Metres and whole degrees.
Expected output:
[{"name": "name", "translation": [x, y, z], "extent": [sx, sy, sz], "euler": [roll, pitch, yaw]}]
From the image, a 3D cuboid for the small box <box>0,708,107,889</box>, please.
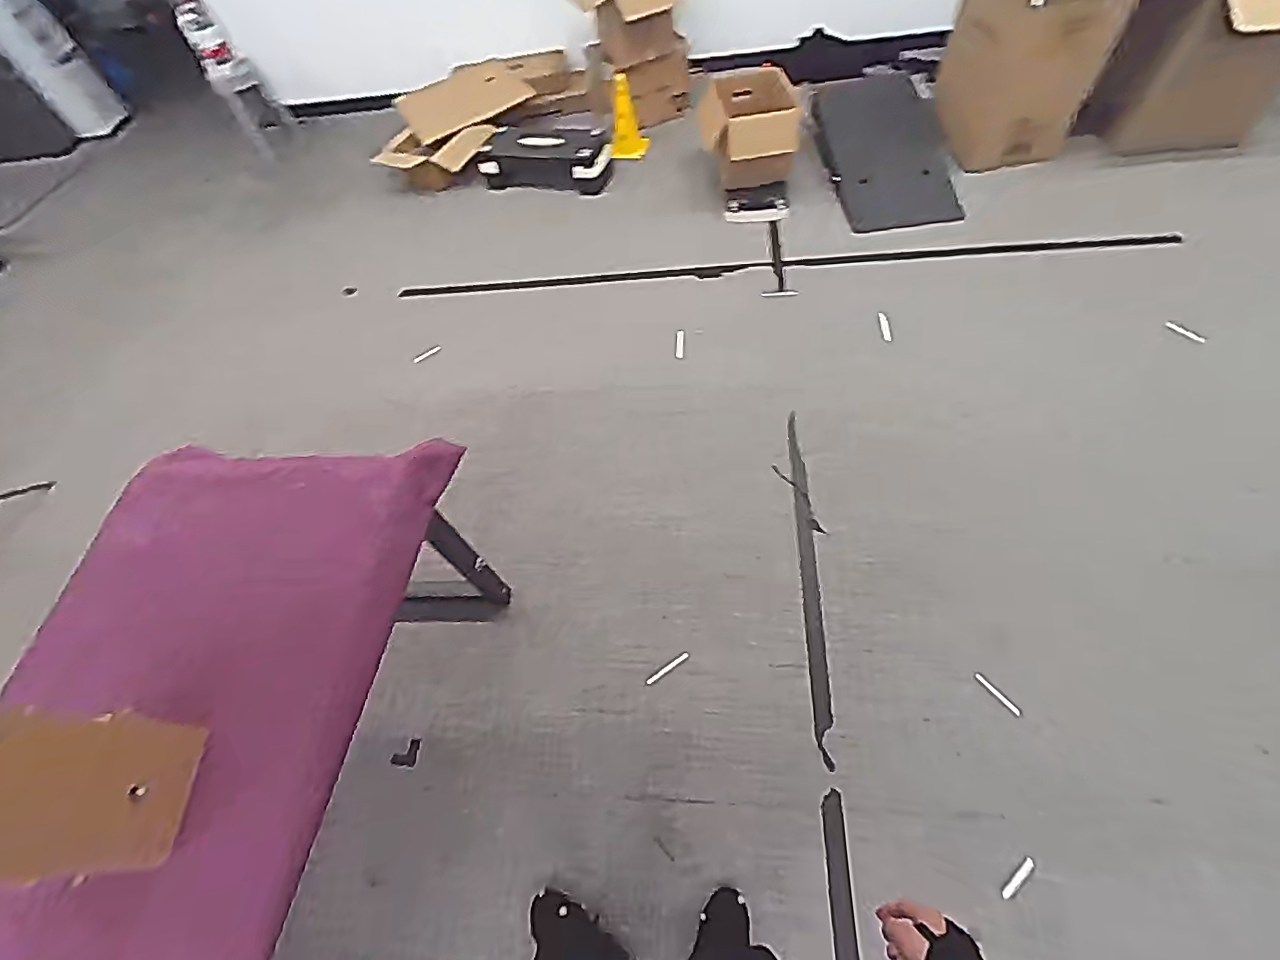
[{"name": "small box", "translation": [-0.777, 0.355, 0.605], "extent": [0.168, 0.176, 0.179], "euler": [-3, 58, 6]}]
